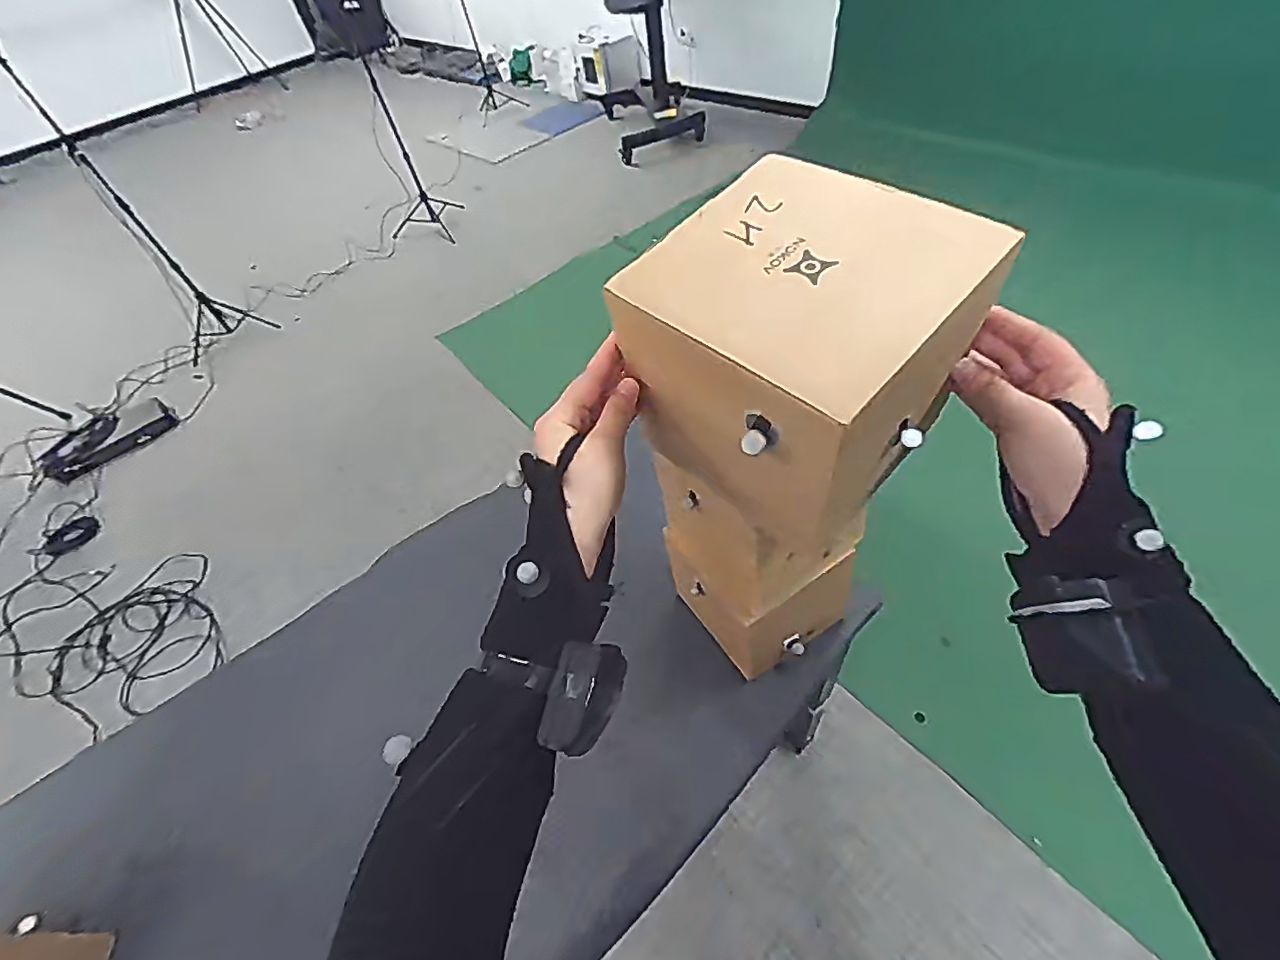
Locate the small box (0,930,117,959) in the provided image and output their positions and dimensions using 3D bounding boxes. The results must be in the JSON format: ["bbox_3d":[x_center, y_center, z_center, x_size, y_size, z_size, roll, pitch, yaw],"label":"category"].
[{"bbox_3d":[-0.704,0.554,0.533,0.179,0.176,0.168,-5,51,6],"label":"small box"}]

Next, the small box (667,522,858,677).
[{"bbox_3d":[0.158,0.126,0.723,0.168,0.176,0.179,-31,50,-13],"label":"small box"}]

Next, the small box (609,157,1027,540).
[{"bbox_3d":[0.109,-0.081,0.379,0.168,0.176,0.179,-43,60,-16],"label":"small box"}]

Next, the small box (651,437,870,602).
[{"bbox_3d":[0.139,0.012,0.608,0.168,0.176,0.179,-33,48,-14],"label":"small box"}]
